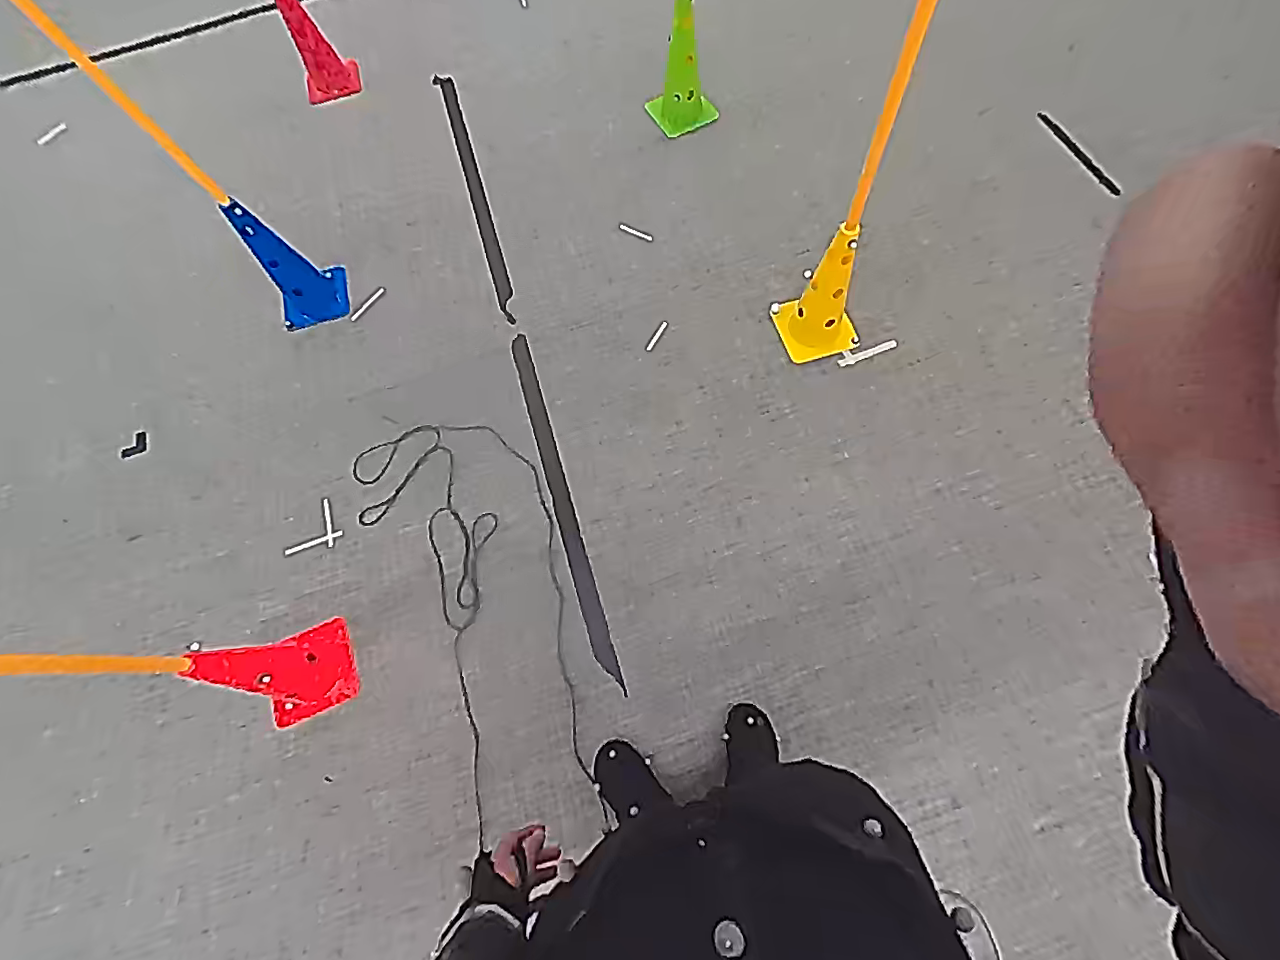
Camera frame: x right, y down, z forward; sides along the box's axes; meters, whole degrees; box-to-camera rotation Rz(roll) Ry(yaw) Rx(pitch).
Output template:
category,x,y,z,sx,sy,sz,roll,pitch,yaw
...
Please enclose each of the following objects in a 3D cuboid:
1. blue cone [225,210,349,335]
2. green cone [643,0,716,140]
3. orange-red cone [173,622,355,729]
category,x,y,z,sx,sy,sz,roll,pitch,yaw
blue cone,-1.018,-0.608,1.534,0.193,0.380,0.192,-16,69,-2
green cone,0.125,-1.331,1.714,0.200,0.368,0.202,-28,71,-6
orange-red cone,-0.787,0.392,1.108,0.199,0.360,0.198,-23,69,-6
